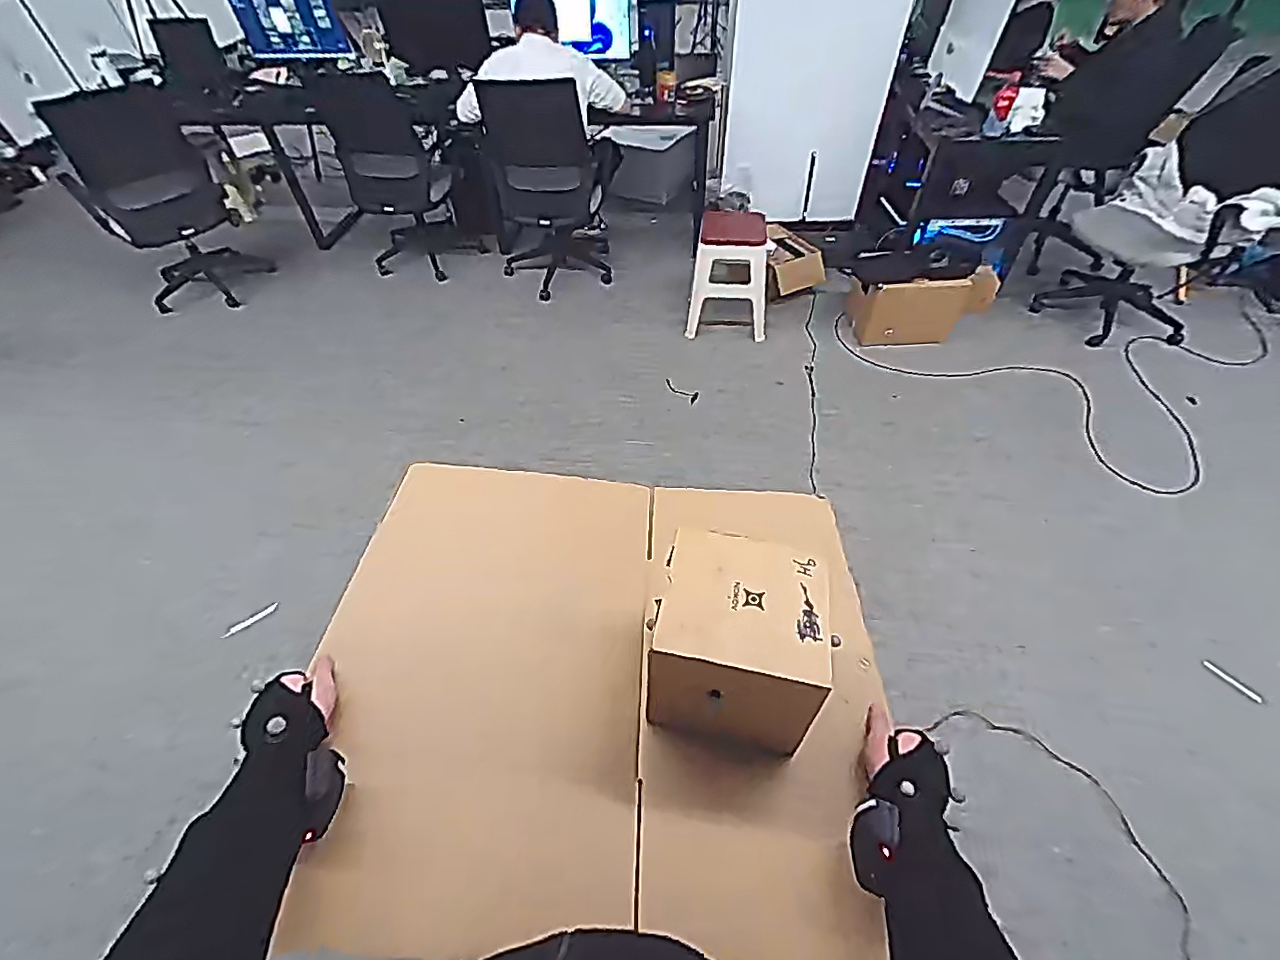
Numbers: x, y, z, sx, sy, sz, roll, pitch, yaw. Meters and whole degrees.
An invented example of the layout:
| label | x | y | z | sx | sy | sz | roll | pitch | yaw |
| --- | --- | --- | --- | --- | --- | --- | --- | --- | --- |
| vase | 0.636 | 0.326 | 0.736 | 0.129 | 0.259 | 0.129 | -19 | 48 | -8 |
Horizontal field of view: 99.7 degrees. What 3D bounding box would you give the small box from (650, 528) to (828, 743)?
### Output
| label | x | y | z | sx | sy | sz | roll | pitch | yaw |
| --- | --- | --- | --- | --- | --- | --- | --- | --- | --- |
| small box | 0.112 | 0.182 | 0.632 | 0.179 | 0.176 | 0.168 | 9 | 45 | 9 |
